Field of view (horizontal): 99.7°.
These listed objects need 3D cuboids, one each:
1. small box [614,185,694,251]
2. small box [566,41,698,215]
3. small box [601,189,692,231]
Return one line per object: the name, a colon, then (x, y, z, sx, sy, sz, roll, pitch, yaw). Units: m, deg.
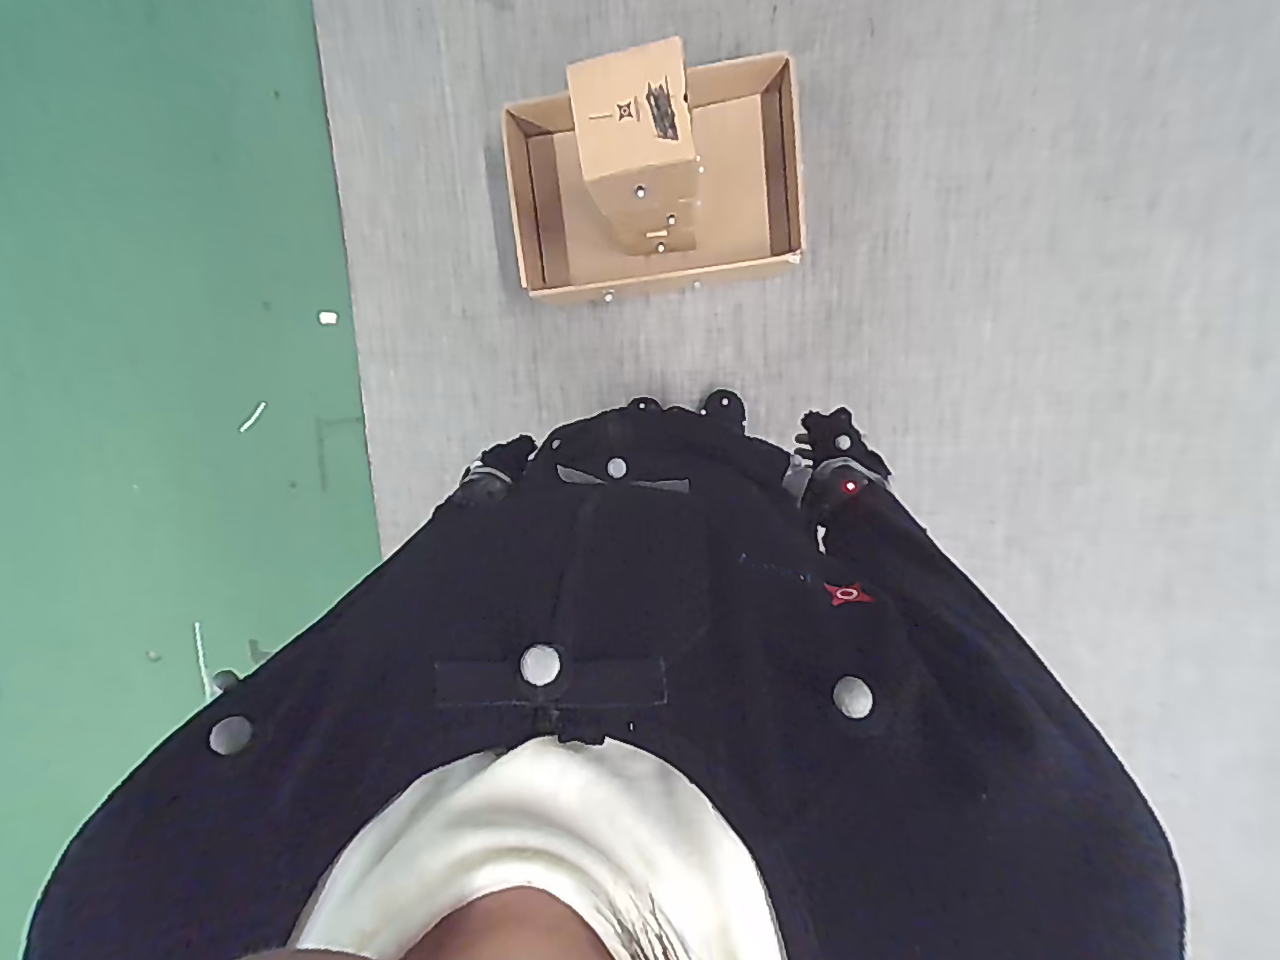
small box: (0.034, -0.620, 1.204, 0.168, 0.176, 0.179, -2, 99, 8)
small box: (-0.006, -0.560, 0.886, 0.179, 0.176, 0.168, -10, 99, 8)
small box: (0.013, -0.595, 1.045, 0.168, 0.176, 0.179, -3, 98, 7)
